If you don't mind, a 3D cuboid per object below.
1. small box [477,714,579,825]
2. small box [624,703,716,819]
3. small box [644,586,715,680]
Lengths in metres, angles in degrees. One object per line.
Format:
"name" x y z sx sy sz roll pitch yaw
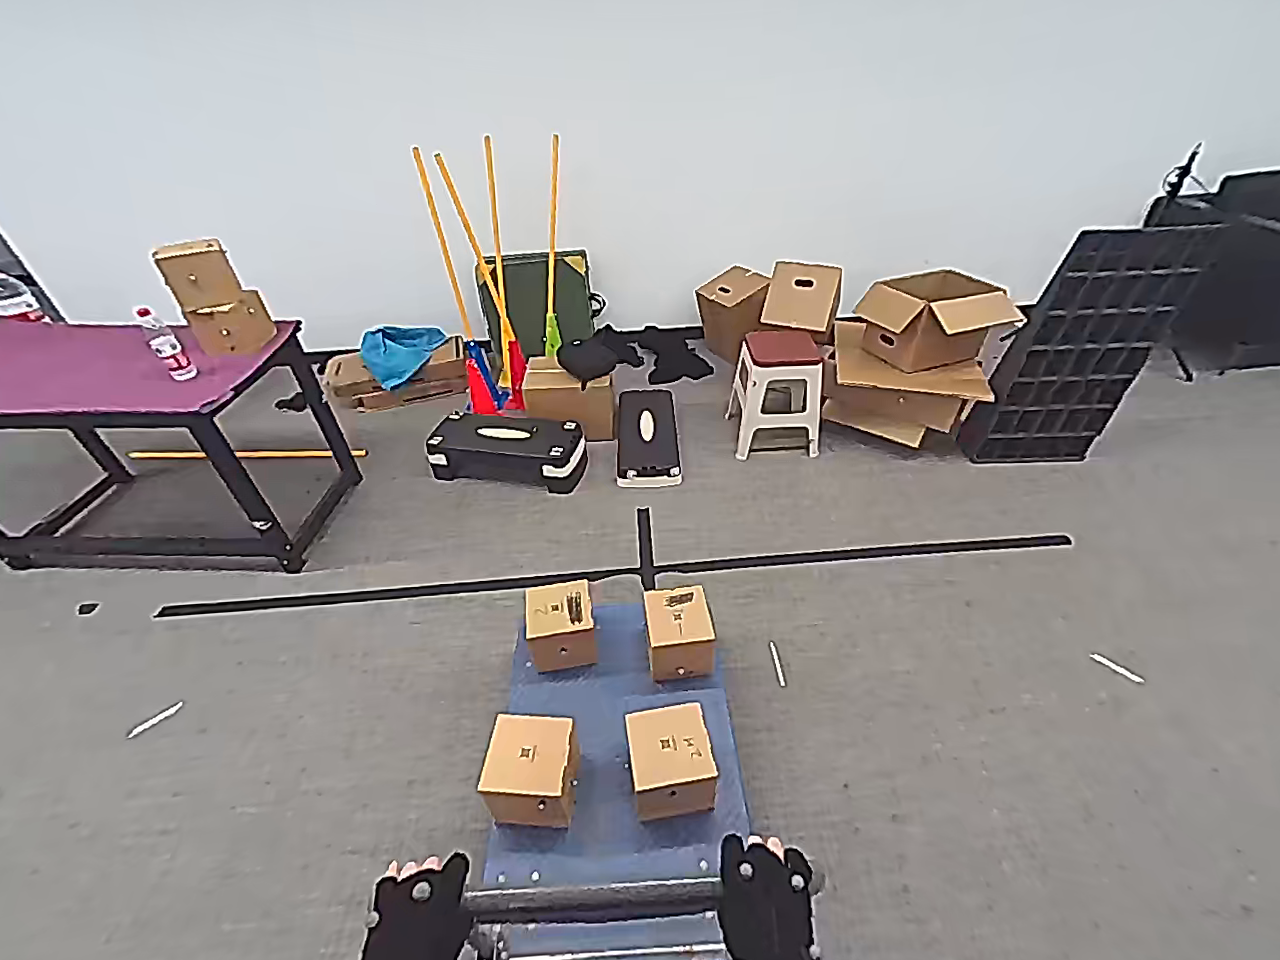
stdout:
"small box" -0.240 0.646 1.202 0.179 0.176 0.168 2 39 3
"small box" 0.064 0.629 1.206 0.179 0.176 0.168 -7 40 -5
"small box" 0.101 0.413 1.463 0.168 0.176 0.179 -6 41 -3
